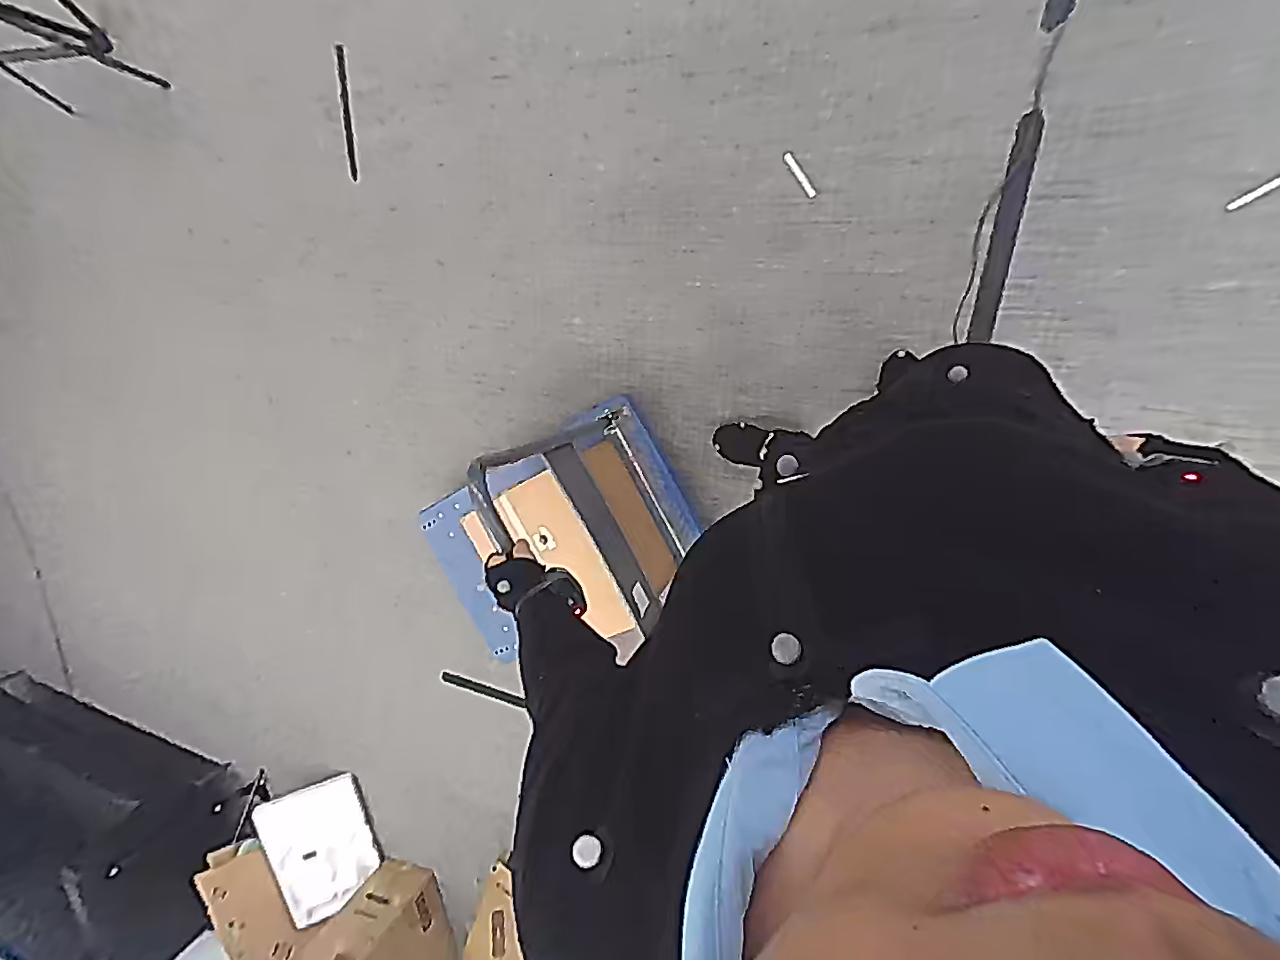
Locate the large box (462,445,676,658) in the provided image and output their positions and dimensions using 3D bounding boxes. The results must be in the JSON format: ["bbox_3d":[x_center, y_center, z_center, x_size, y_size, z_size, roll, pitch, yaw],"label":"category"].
[{"bbox_3d":[-0.166,0.172,1.390,0.320,0.320,0.408,-26,94,26],"label":"large box"}]
